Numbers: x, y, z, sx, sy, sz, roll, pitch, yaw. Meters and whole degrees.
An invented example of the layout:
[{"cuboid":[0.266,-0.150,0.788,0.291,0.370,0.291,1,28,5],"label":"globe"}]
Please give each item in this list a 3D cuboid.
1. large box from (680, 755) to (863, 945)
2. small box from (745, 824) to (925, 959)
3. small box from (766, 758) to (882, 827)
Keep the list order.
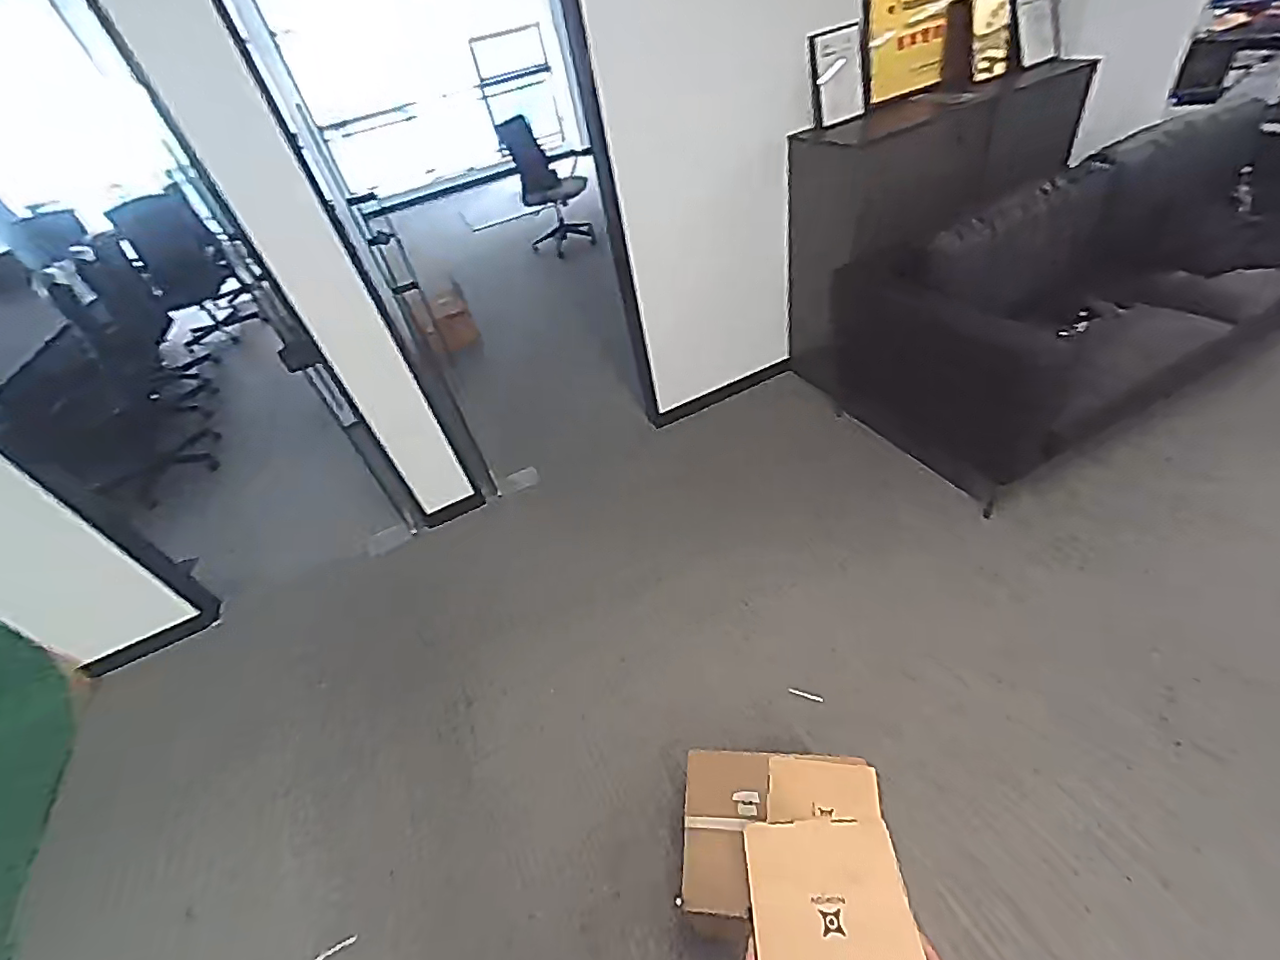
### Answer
[{"cuboid":[0.318,0.852,1.235,0.408,0.320,0.320,-4,41,12],"label":"large box"},{"cuboid":[0.210,0.516,0.608,0.168,0.176,0.179,-6,39,6],"label":"small box"},{"cuboid":[0.304,0.592,0.907,0.179,0.176,0.168,-1,44,15],"label":"small box"}]
